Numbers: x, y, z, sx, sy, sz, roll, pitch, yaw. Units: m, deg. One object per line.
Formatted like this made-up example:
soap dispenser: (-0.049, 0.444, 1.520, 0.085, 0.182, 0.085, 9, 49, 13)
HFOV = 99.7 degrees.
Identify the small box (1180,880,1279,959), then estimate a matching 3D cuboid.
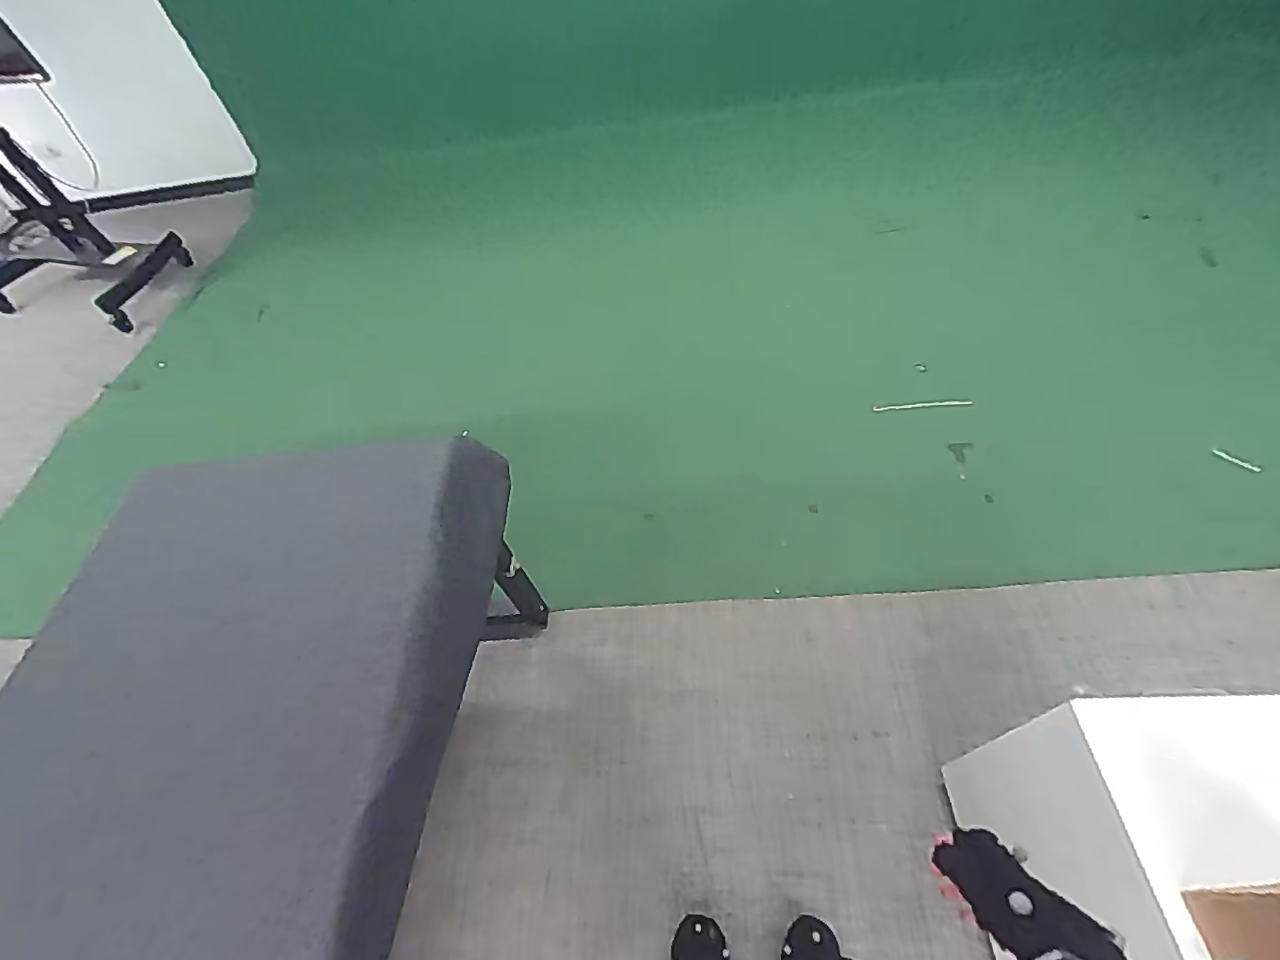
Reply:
small box: (0.669, 0.460, 0.482, 0.179, 0.176, 0.168, -9, 52, 4)
